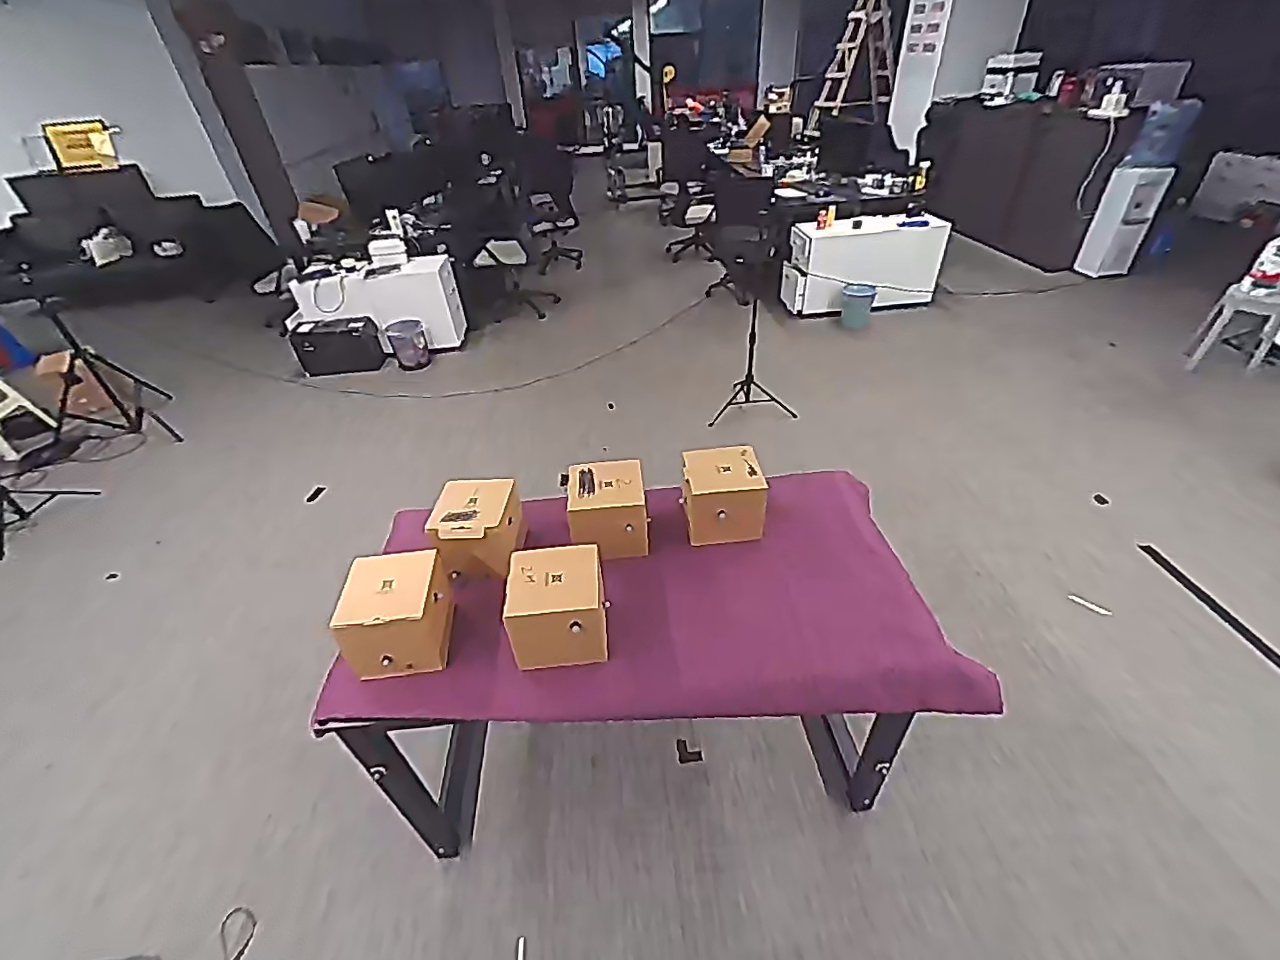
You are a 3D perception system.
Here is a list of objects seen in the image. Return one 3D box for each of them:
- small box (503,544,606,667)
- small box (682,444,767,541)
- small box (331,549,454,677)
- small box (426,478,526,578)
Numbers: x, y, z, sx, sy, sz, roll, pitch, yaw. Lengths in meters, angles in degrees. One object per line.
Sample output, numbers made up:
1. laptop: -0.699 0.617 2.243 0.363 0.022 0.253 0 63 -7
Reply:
1. small box: -0.159 0.249 1.073 0.179 0.176 0.168 -6 38 -1
2. small box: 0.200 0.034 1.311 0.179 0.176 0.168 -6 40 0
3. small box: -0.481 0.265 1.083 0.168 0.176 0.179 -6 38 -6
4. small box: -0.372 0.115 1.267 0.168 0.176 0.179 -1 38 3
